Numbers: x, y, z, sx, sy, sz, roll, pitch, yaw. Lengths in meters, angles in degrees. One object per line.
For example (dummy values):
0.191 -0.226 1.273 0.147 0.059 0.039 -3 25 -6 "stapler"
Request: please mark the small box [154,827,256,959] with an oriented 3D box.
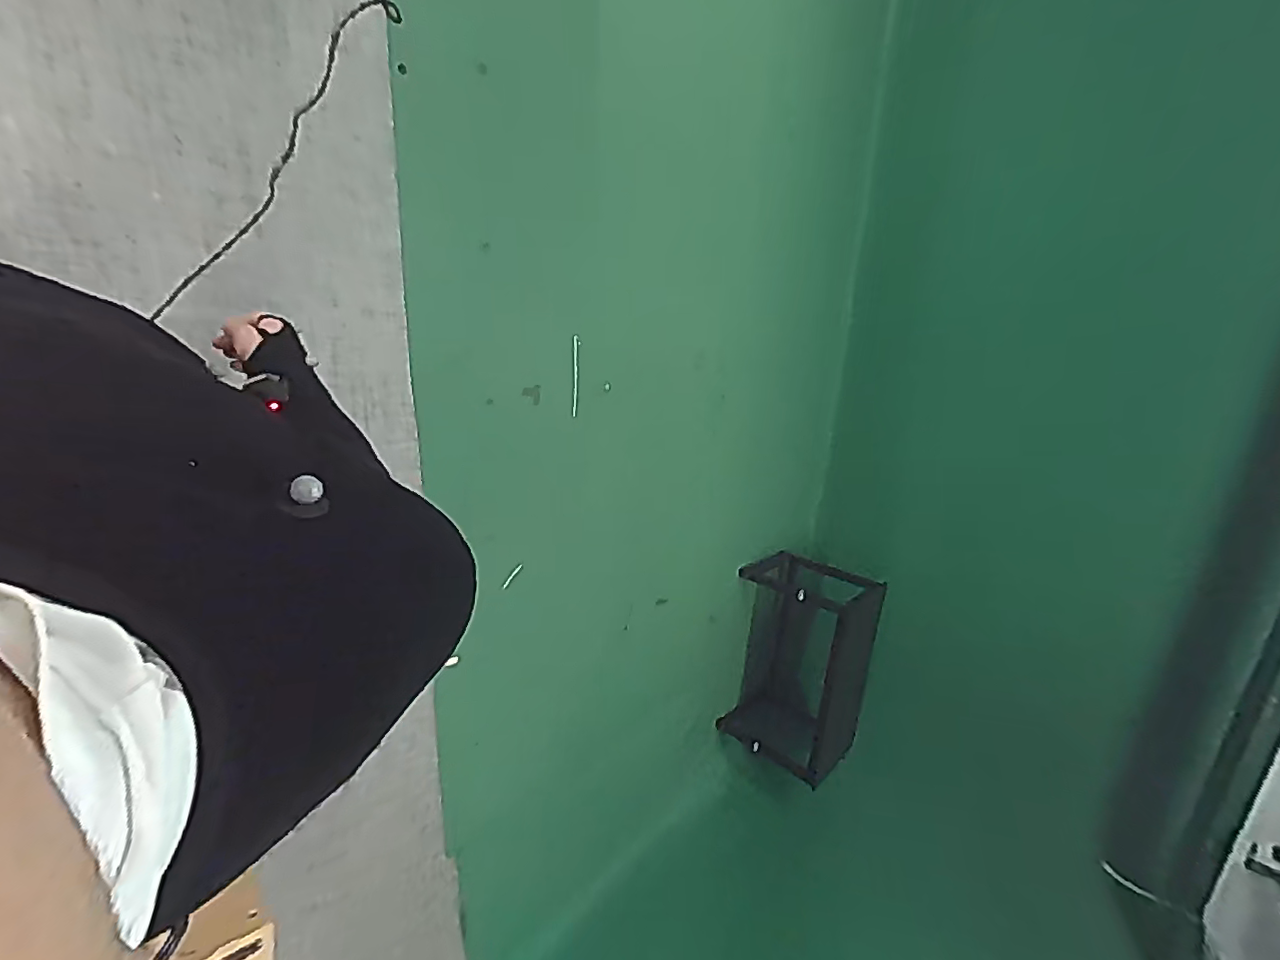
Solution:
-1.064 1.006 1.320 0.179 0.176 0.168 -4 107 -48 "small box"
